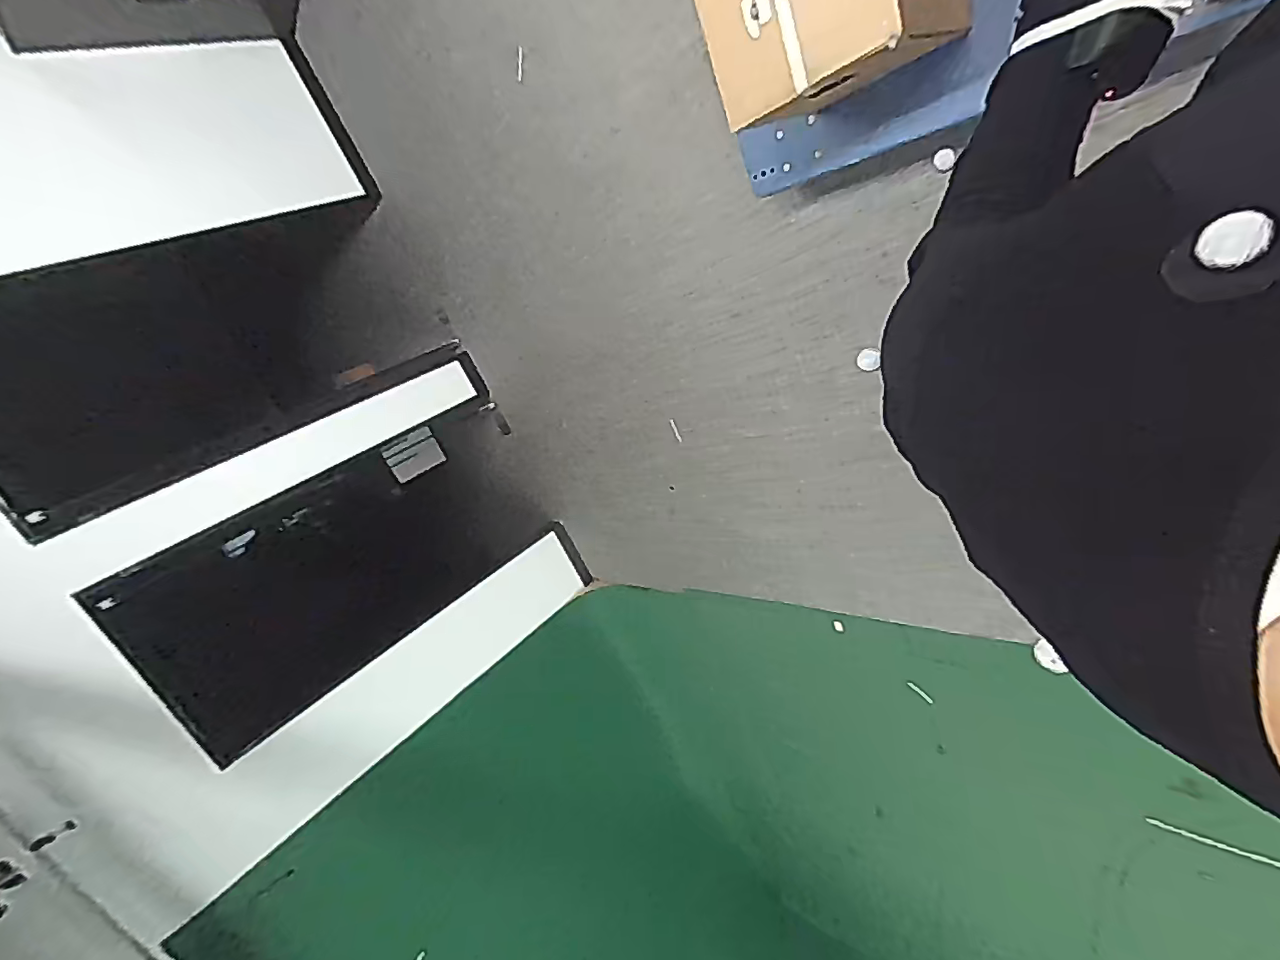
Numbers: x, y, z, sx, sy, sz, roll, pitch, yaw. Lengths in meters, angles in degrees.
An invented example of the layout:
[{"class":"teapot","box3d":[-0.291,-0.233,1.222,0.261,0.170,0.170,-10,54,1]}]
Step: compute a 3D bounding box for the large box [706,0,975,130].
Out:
[{"class":"large box","box3d":[0.312,-0.879,0.889,0.320,0.320,0.408,3,122,49]}]
